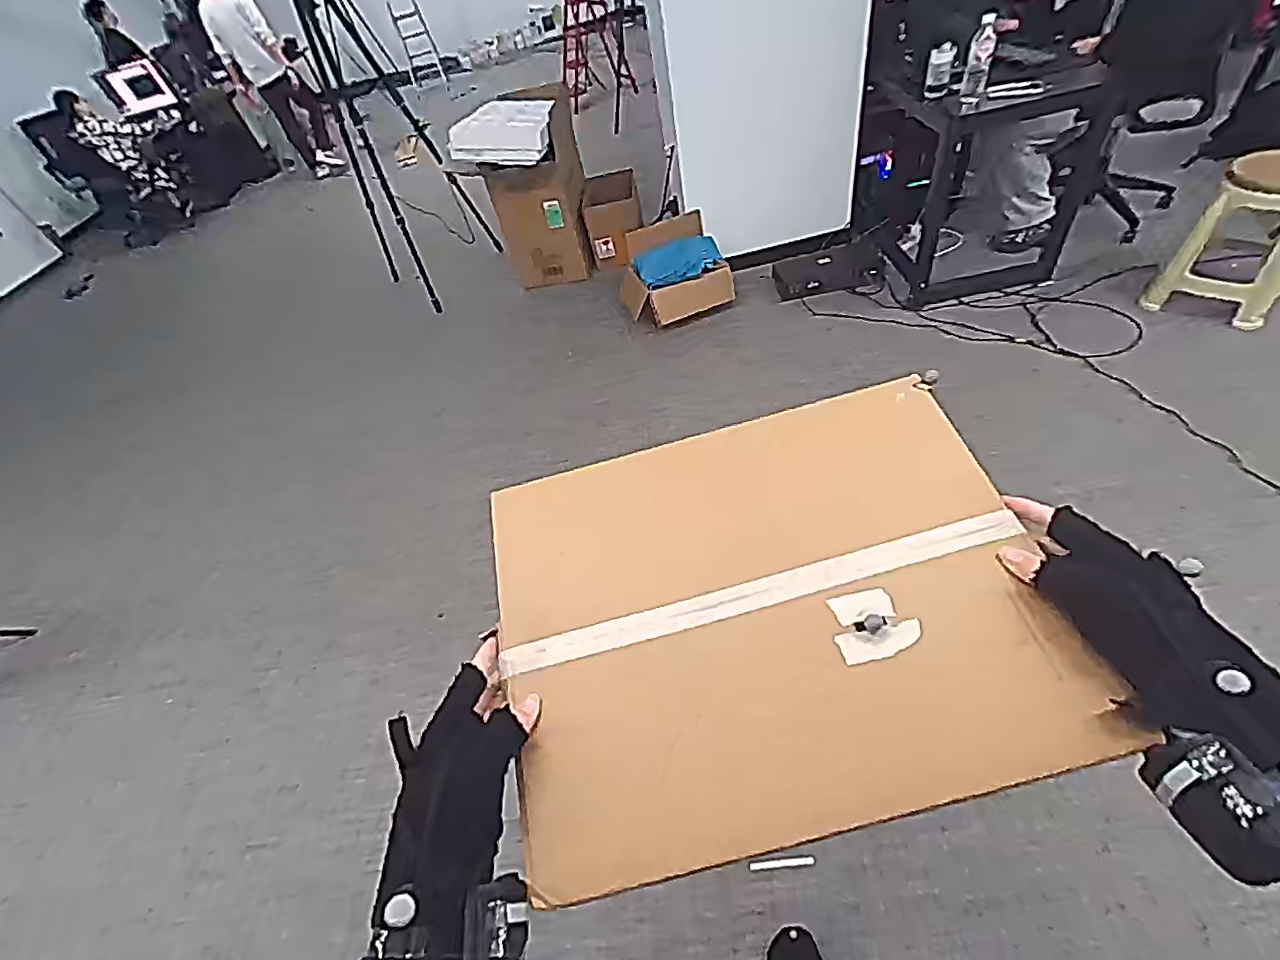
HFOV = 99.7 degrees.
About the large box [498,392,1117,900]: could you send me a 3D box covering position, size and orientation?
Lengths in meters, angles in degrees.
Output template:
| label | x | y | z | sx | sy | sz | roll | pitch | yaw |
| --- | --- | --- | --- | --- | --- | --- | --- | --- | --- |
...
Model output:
| label | x | y | z | sx | sy | sz | roll | pitch | yaw |
| --- | --- | --- | --- | --- | --- | --- | --- | --- | --- |
| large box | 0.112 | 0.171 | 0.557 | 0.408 | 0.320 | 0.320 | -16 | 59 | 1 |
